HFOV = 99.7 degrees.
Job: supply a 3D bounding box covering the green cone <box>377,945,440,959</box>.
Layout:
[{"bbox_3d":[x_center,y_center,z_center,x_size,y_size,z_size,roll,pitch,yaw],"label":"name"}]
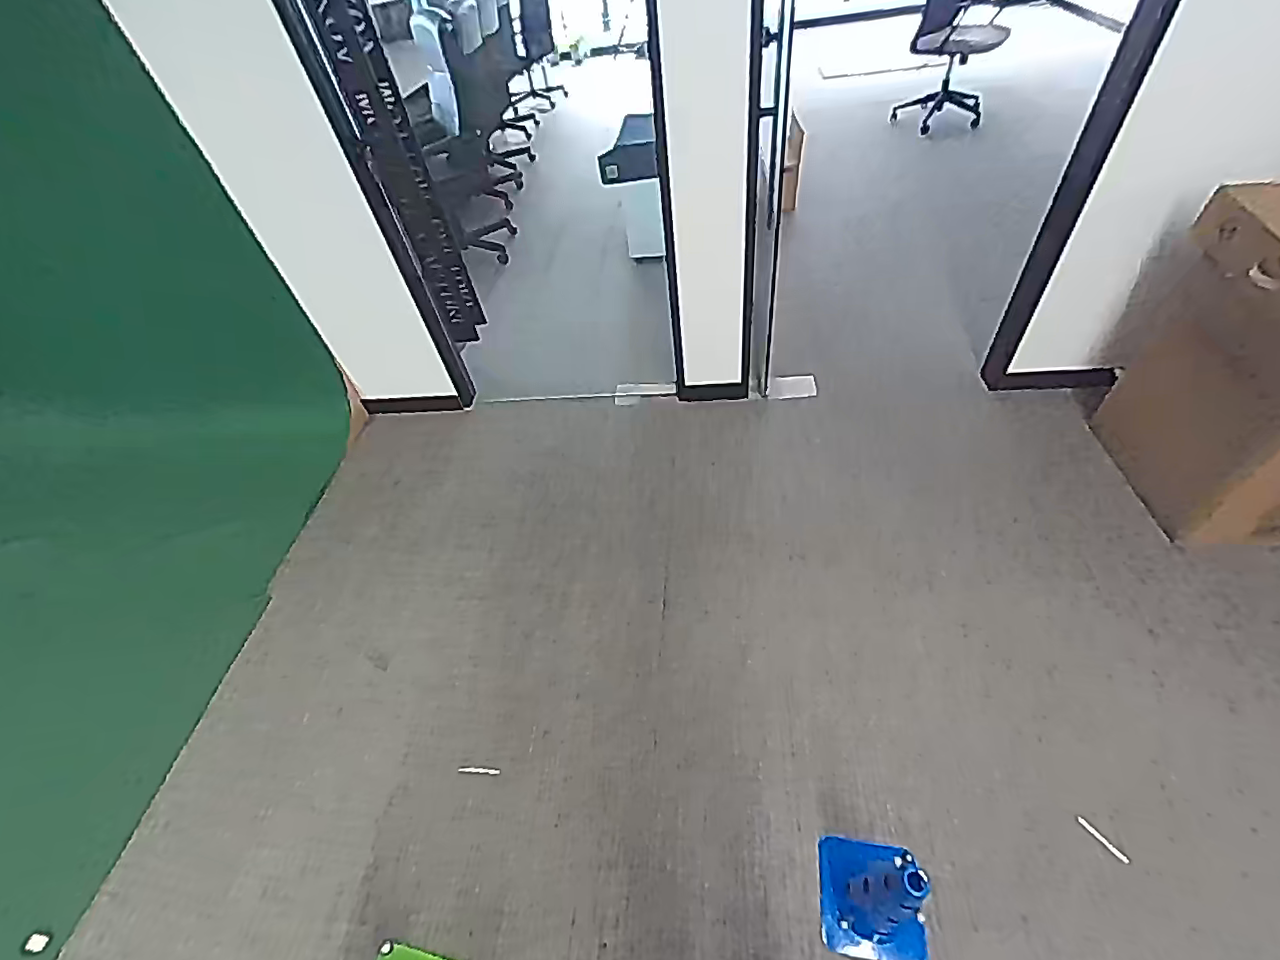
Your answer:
[{"bbox_3d":[-0.497,0.964,0.959,0.202,0.368,0.200,4,48,12],"label":"green cone"}]
